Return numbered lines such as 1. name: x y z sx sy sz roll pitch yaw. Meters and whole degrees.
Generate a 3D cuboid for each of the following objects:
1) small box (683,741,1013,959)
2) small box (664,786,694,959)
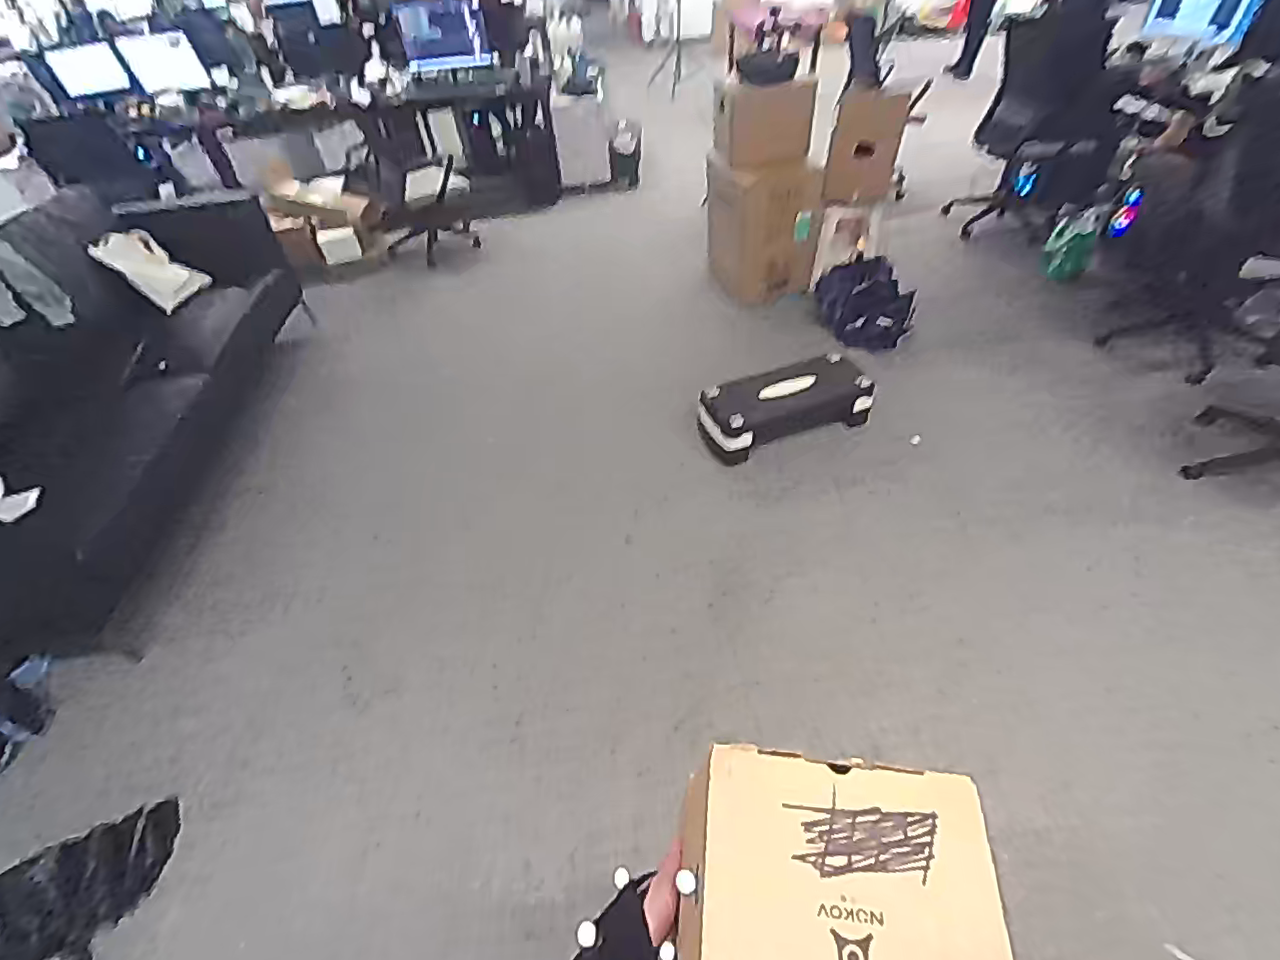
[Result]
1. small box: 0.116 0.290 0.358 0.168 0.176 0.179 5 57 5
2. small box: 0.119 0.476 0.627 0.168 0.176 0.179 7 56 6
